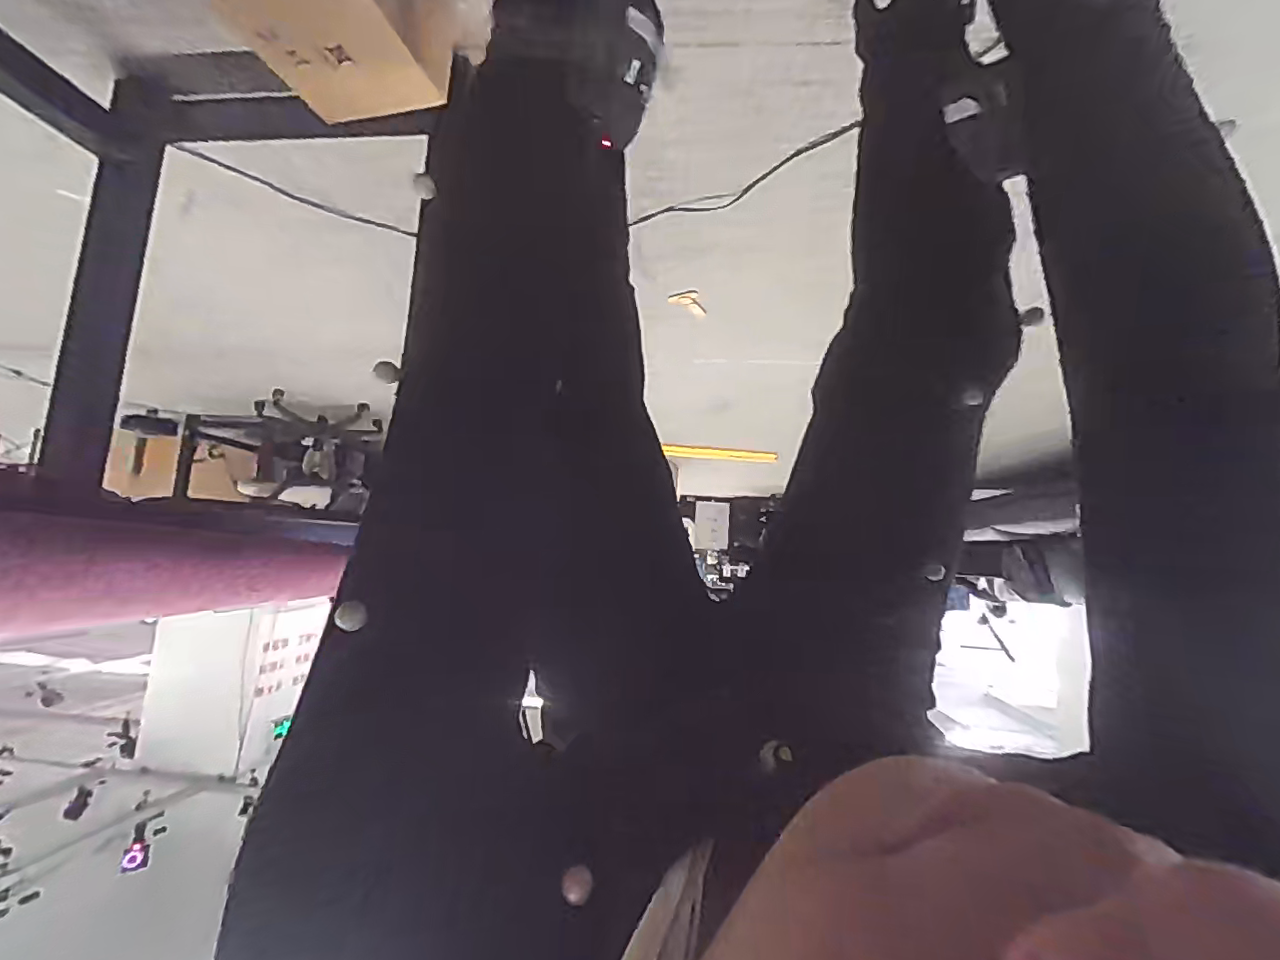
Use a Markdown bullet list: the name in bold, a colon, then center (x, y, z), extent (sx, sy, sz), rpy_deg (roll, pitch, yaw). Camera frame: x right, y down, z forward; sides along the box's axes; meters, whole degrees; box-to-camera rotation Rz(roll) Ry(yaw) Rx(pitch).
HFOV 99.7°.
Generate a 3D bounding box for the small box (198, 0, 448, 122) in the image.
- **small box**: center (-0.325, -0.534, 0.583), extent (0.179, 0.176, 0.168), rpy_deg (1, 172, 14)
